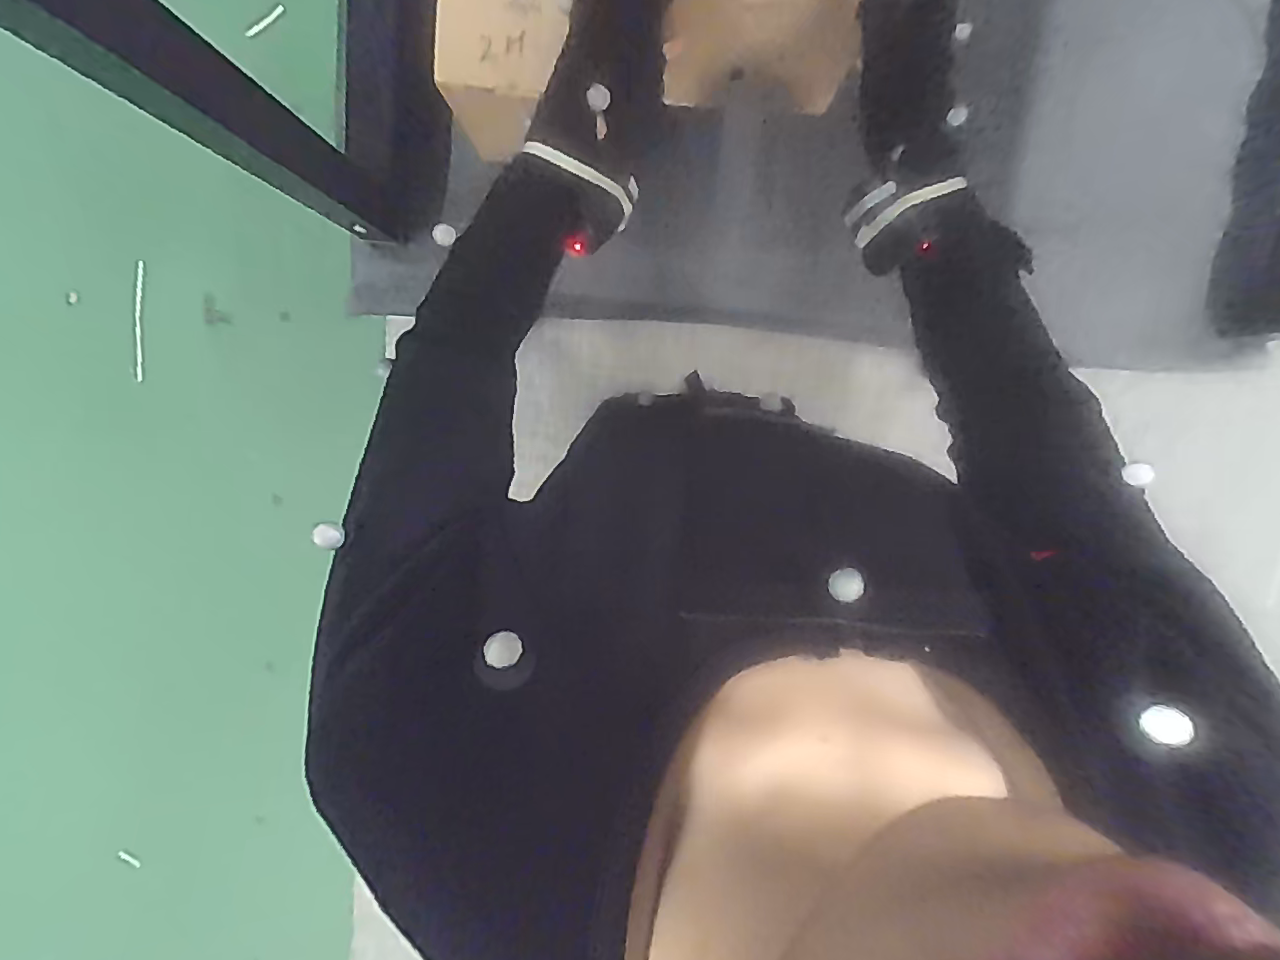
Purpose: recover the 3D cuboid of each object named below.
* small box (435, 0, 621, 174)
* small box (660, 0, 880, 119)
[{"bbox_3d":[-0.111,-0.477,0.601,0.168,0.176,0.179,7,97,-1],"label":"small box"},{"bbox_3d":[0.106,-0.451,0.464,0.168,0.176,0.179,5,101,2],"label":"small box"}]
